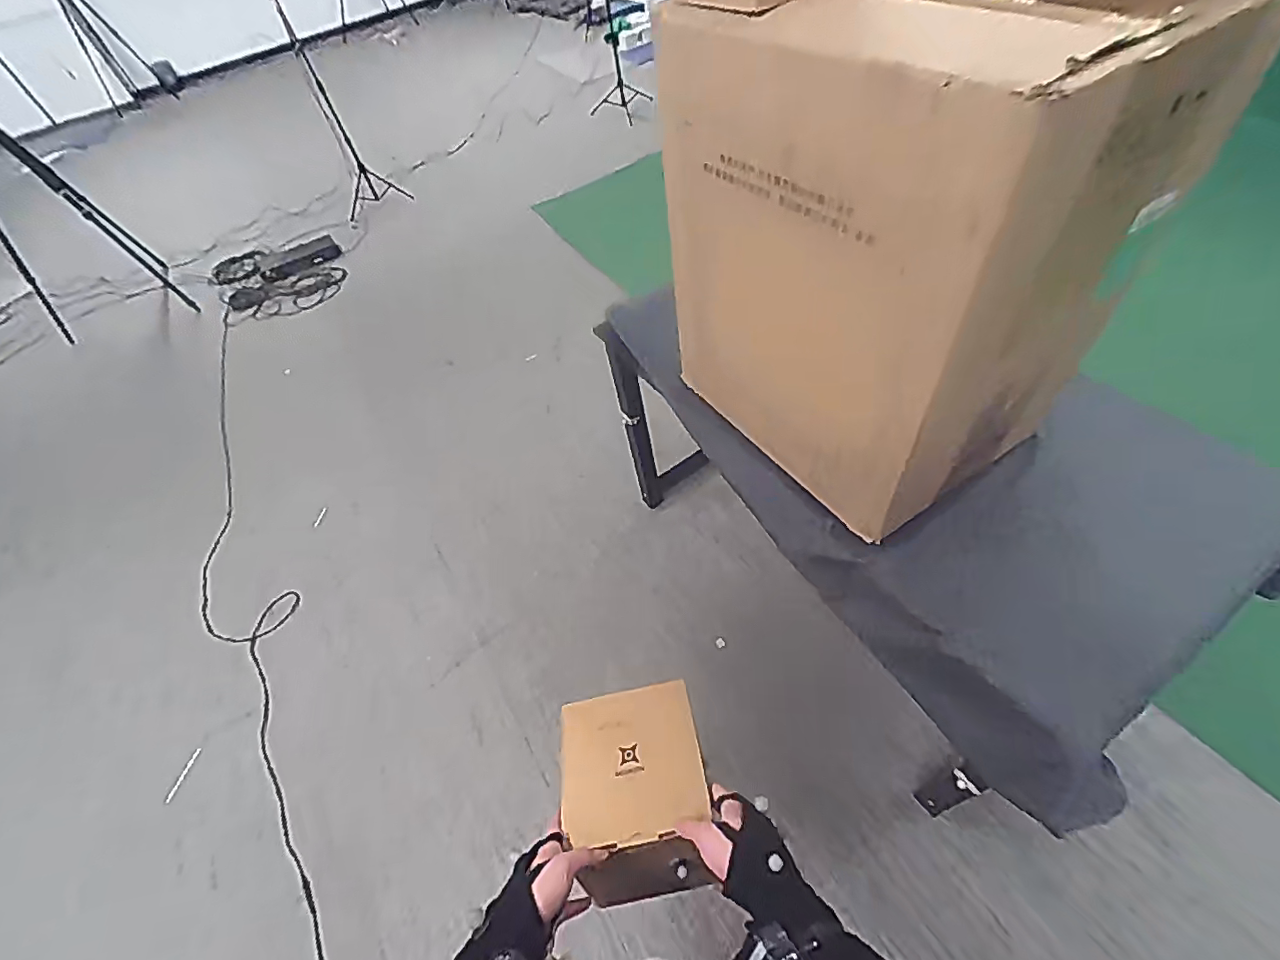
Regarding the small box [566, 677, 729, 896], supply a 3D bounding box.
[{"bbox_3d":[0.008,0.387,0.680,0.168,0.176,0.179,-13,34,0],"label":"small box"}]
